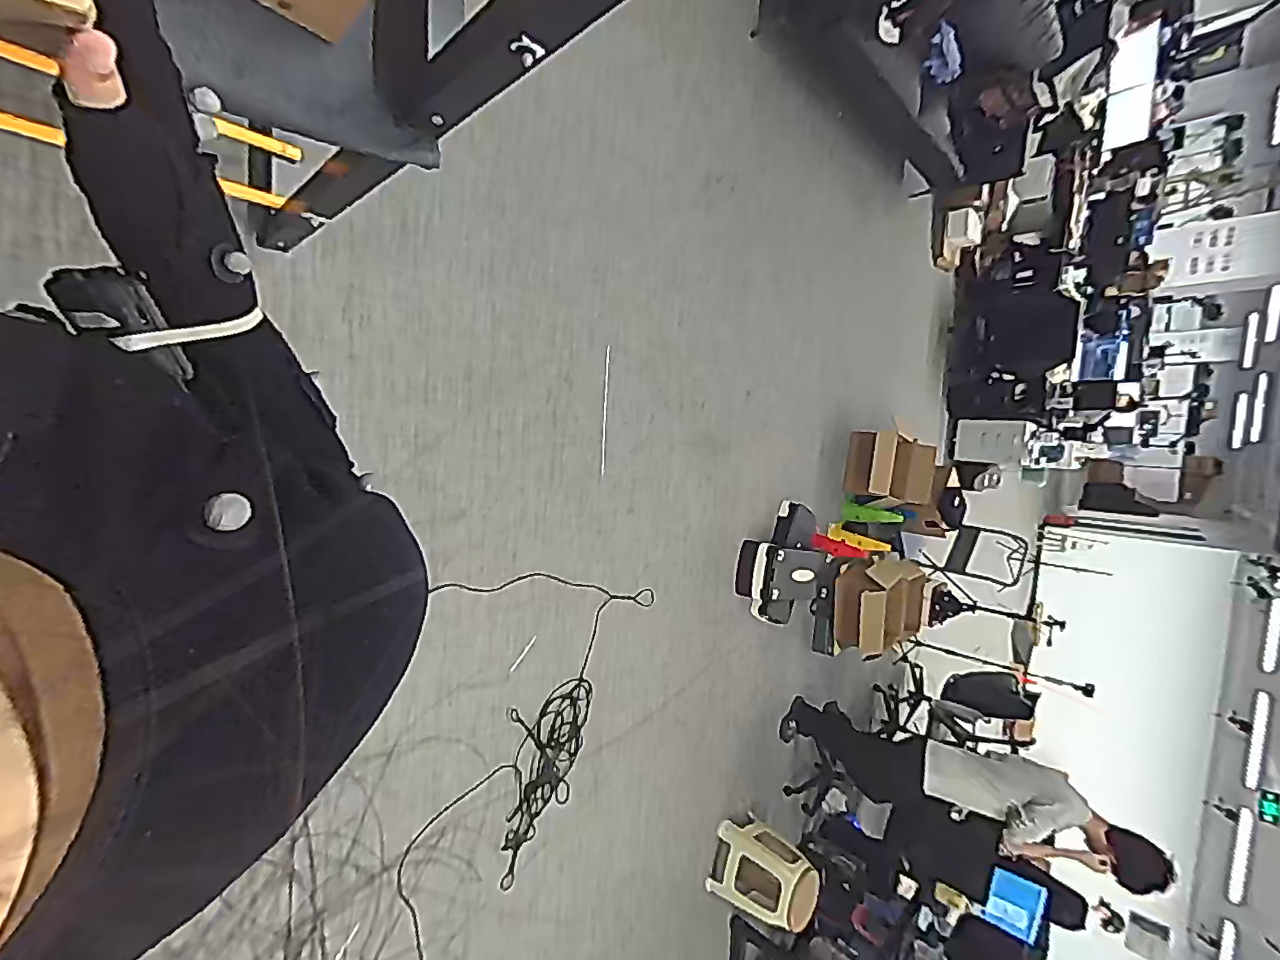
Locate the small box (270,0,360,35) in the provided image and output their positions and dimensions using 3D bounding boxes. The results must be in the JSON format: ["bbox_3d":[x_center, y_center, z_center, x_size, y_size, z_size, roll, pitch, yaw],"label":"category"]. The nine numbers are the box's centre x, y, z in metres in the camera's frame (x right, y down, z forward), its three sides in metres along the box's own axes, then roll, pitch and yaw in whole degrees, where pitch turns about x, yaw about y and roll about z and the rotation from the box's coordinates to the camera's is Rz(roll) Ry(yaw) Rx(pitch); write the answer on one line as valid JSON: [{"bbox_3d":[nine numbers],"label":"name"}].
[{"bbox_3d":[-0.370,-0.625,0.558,0.168,0.176,0.179,3,92,-47],"label":"small box"}]
